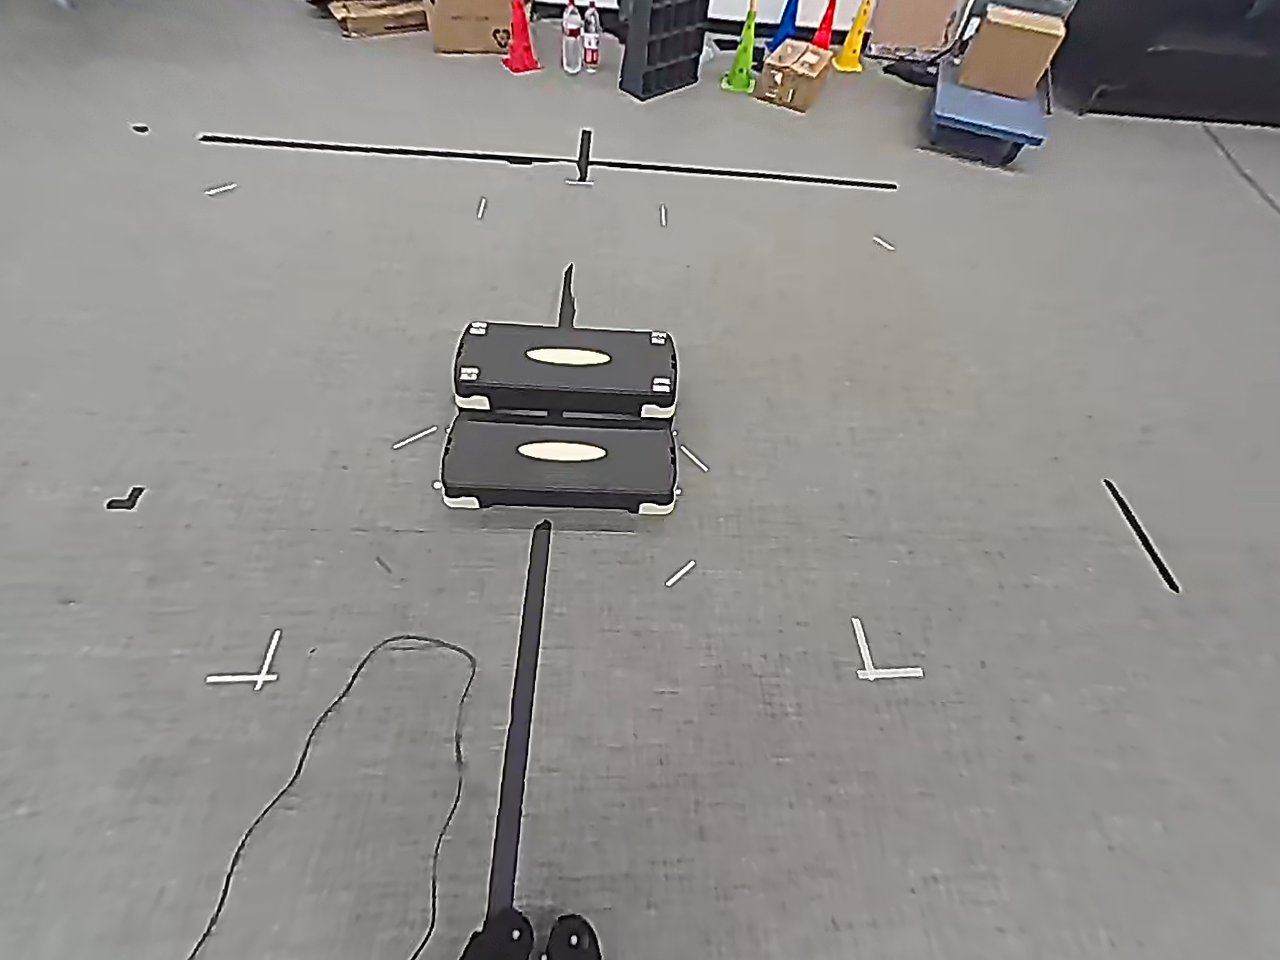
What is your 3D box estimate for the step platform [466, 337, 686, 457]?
[{"bbox_3d":[-0.196,-0.268,1.731,0.684,0.204,0.286,6,54,-2],"label":"step platform"}]
